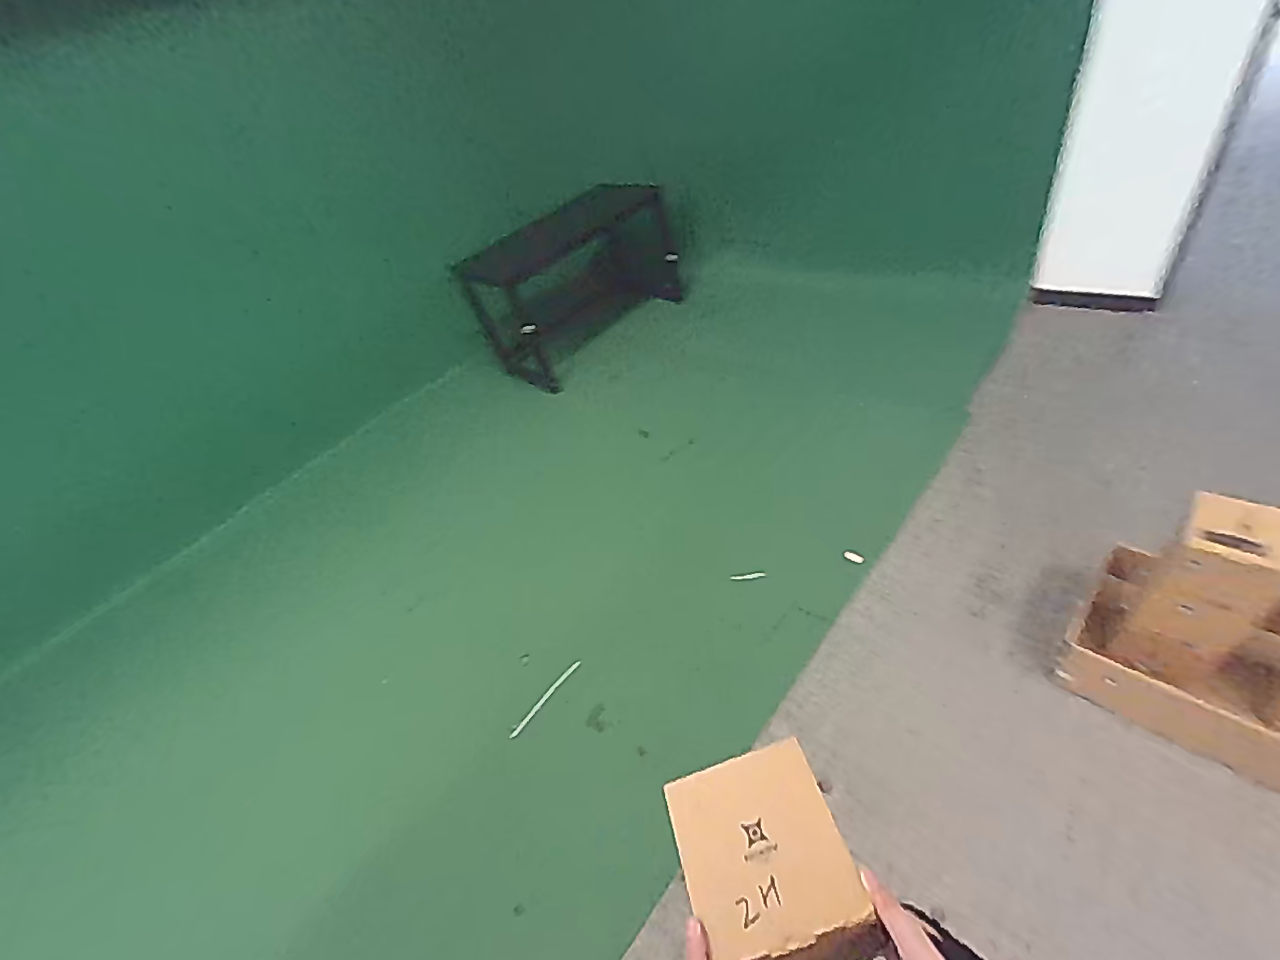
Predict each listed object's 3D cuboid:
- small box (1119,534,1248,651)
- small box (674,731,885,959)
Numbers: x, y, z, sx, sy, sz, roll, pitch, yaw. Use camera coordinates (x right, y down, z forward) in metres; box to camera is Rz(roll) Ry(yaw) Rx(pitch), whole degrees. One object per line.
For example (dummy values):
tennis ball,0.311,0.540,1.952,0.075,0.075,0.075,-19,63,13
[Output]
small box,1.276,0.265,1.278,0.168,0.176,0.179,22,55,37
small box,0.152,0.424,0.606,0.168,0.176,0.179,-21,37,2
